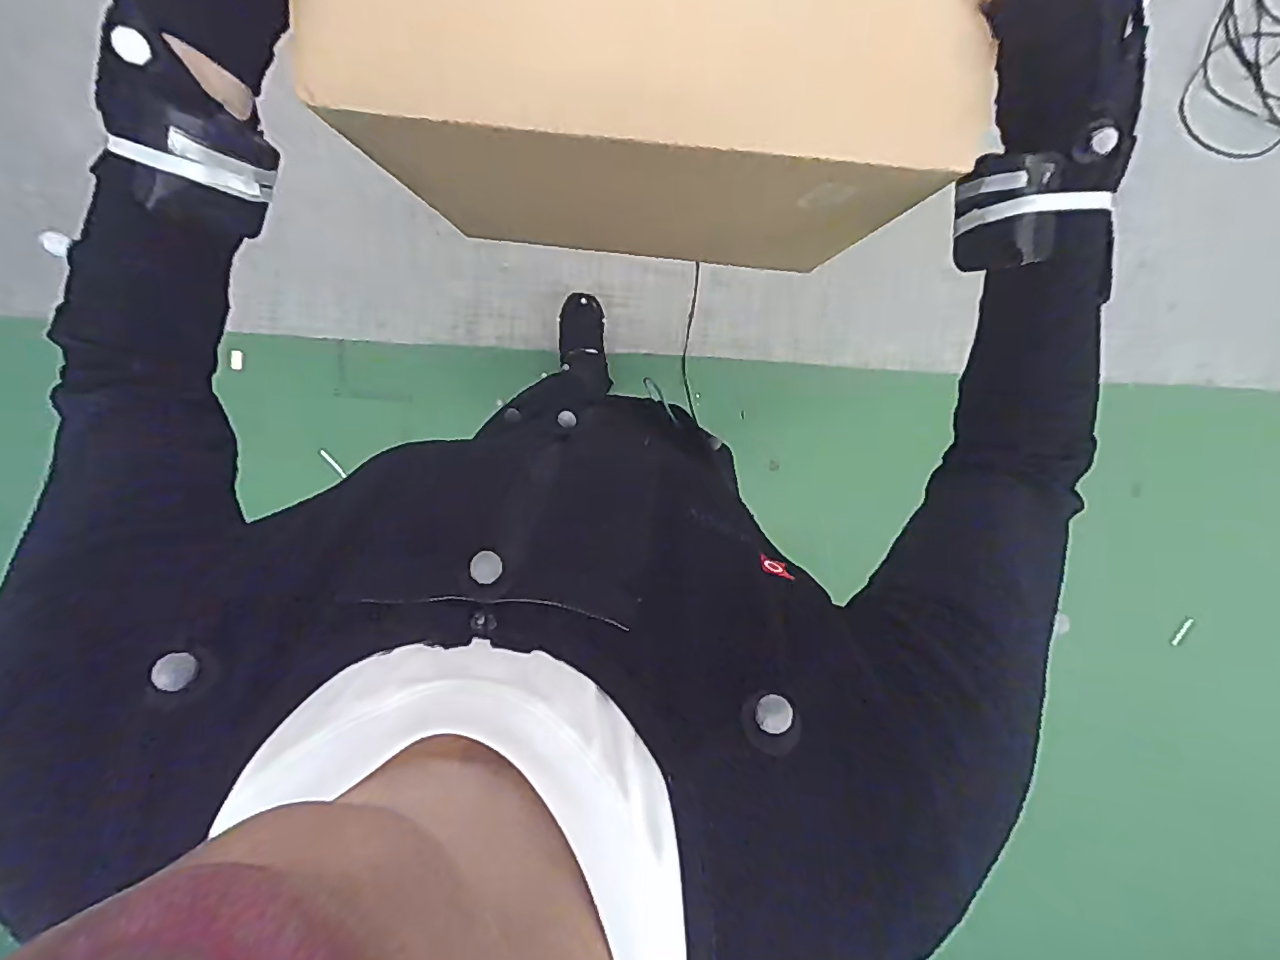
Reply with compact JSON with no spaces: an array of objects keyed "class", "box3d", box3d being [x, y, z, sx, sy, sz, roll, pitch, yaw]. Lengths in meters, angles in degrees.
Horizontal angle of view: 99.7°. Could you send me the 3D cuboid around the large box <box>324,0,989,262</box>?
[{"class":"large box","box3d":[0.016,-0.390,0.455,0.408,0.320,0.320,5,101,-1]}]
